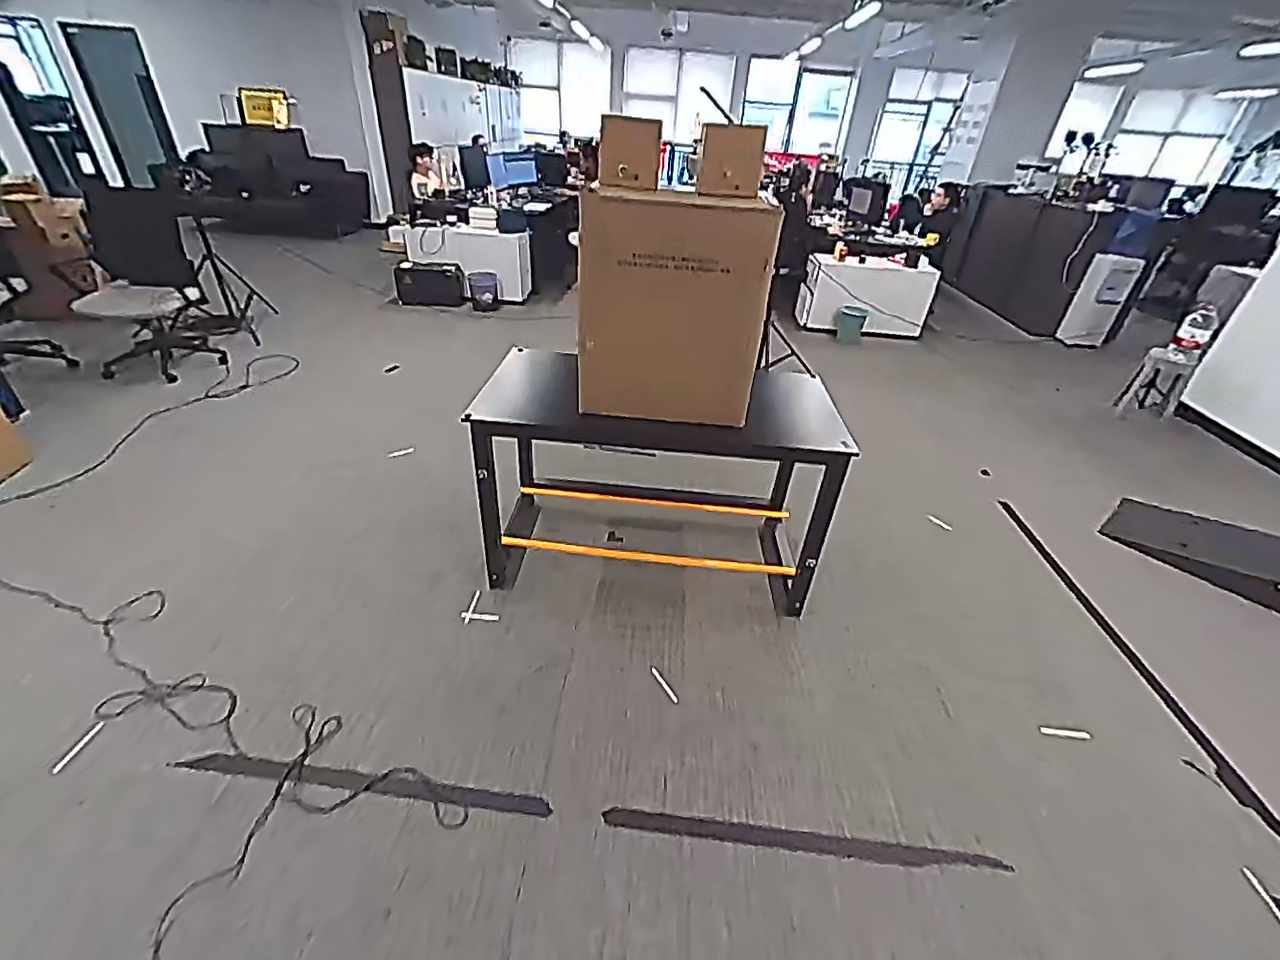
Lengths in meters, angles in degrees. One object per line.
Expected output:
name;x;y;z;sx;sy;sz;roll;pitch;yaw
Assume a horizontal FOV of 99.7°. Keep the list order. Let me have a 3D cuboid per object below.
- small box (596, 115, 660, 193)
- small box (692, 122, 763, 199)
small box;-0.034;-0.917;1.522;0.168;0.176;0.179;3;34;0
small box;0.237;-0.891;1.507;0.168;0.176;0.179;3;33;0
